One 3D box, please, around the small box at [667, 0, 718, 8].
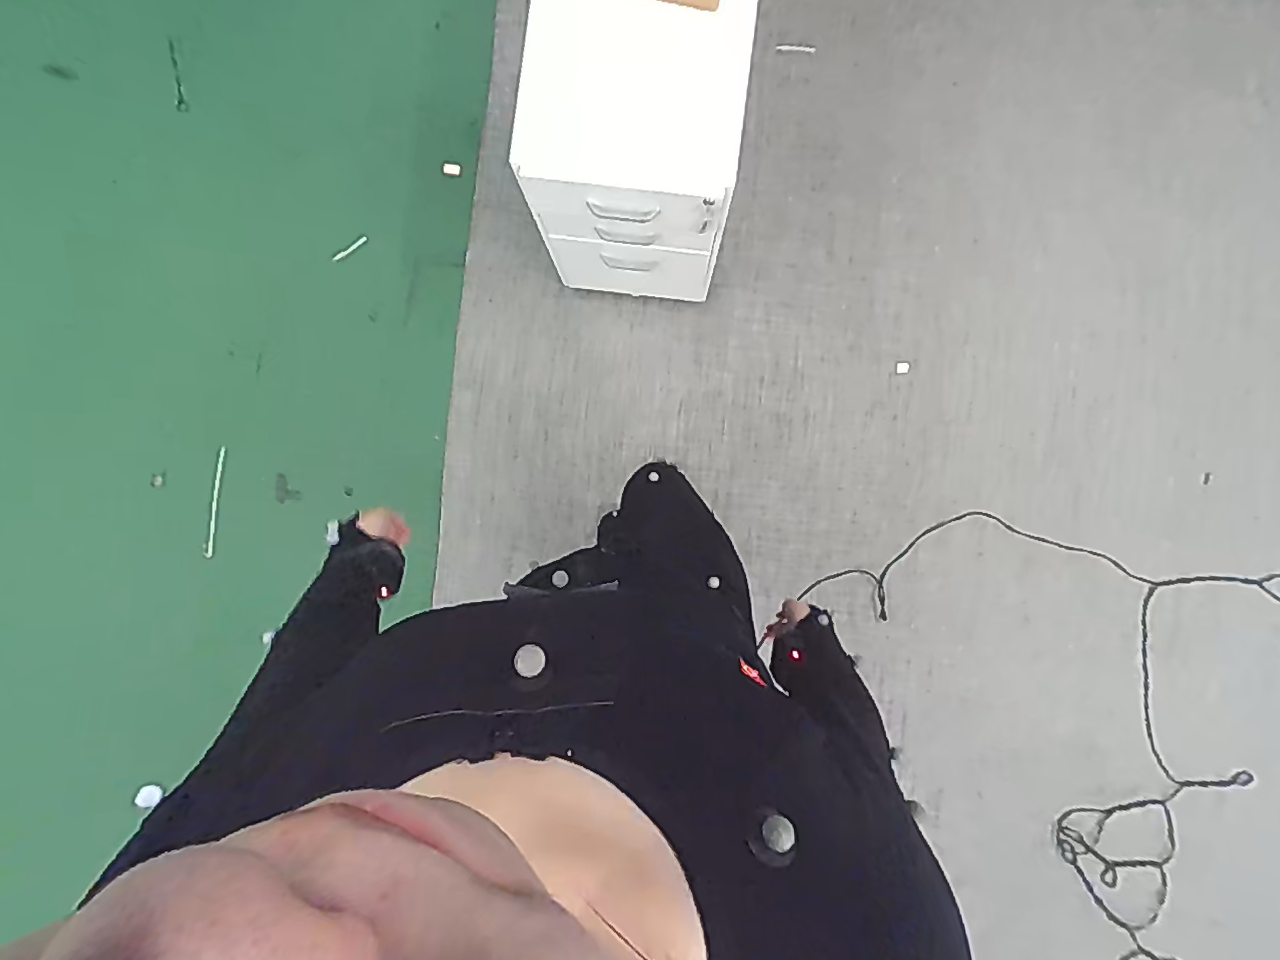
[{"bbox_3d":[0.062,-0.908,0.859,0.179,0.176,0.168,14,89,2],"label":"small box"}]
